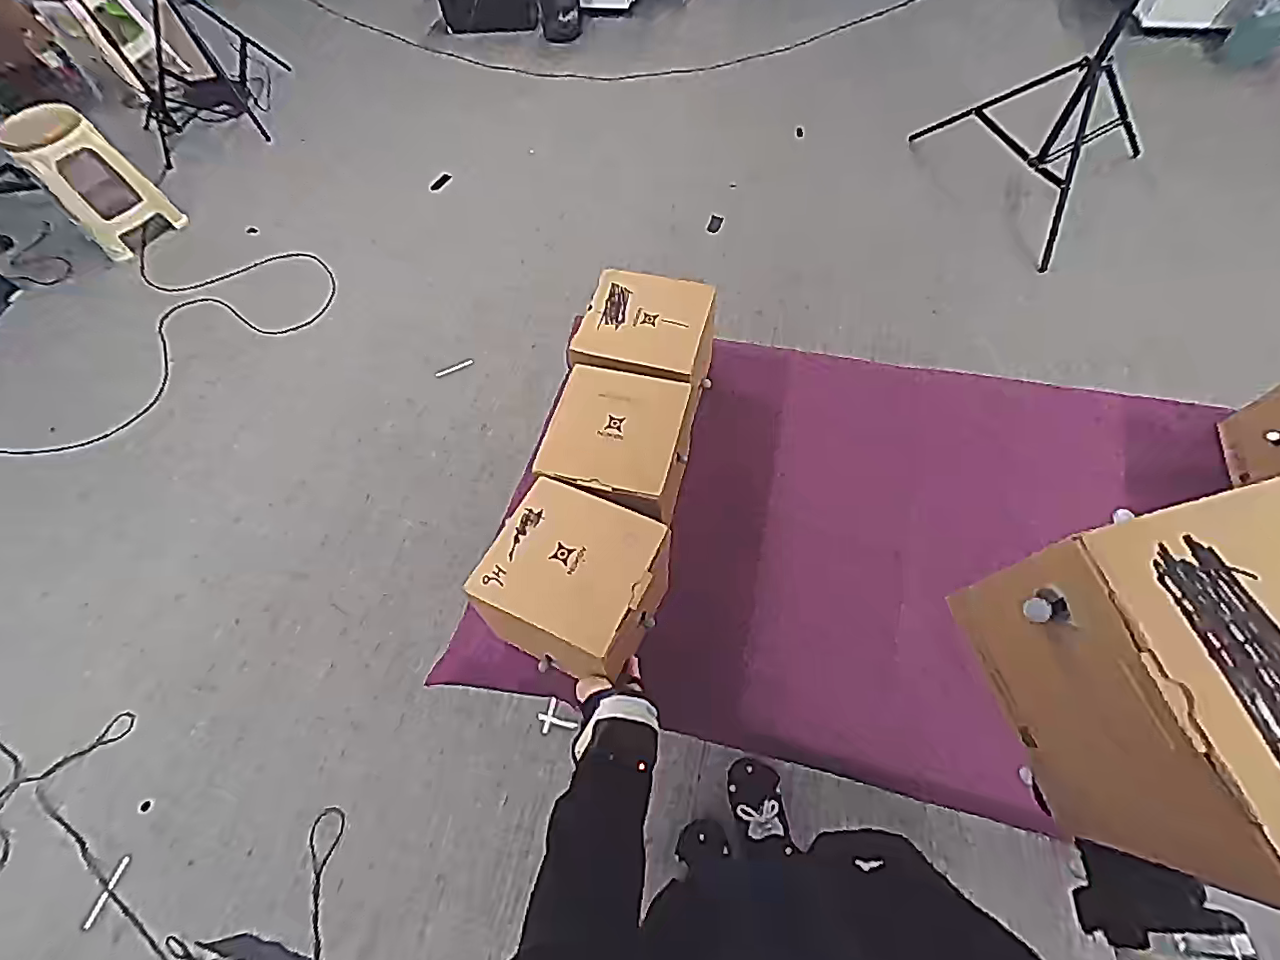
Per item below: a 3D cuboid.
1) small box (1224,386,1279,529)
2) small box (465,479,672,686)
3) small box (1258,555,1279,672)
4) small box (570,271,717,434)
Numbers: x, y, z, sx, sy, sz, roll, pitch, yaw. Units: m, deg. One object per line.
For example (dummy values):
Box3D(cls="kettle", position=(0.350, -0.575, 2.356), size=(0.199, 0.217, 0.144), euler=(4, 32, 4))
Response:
Box3D(cls="small box", position=(0.907, -0.033, 0.683), size=(0.179, 0.176, 0.168), euler=(12, 64, 10))
Box3D(cls="small box", position=(-0.076, 0.133, 0.663), size=(0.179, 0.176, 0.168), euler=(22, 60, 14))
Box3D(cls="small box", position=(0.851, 0.162, 0.587), size=(0.168, 0.176, 0.179), euler=(15, 62, 13))
Box3D(cls="small box", position=(0.012, -0.190, 0.837), size=(0.179, 0.176, 0.168), euler=(13, 65, 10))
